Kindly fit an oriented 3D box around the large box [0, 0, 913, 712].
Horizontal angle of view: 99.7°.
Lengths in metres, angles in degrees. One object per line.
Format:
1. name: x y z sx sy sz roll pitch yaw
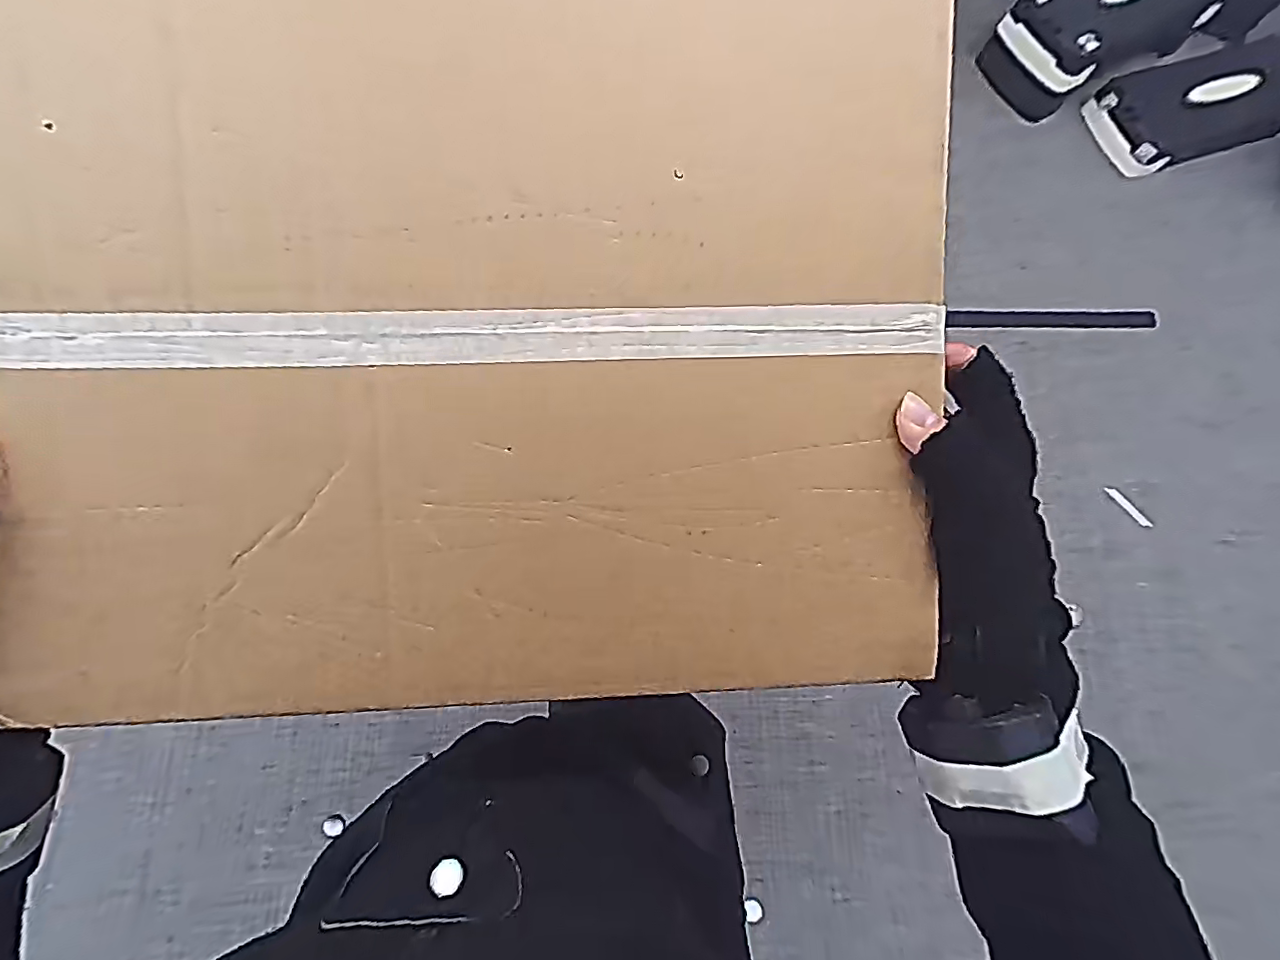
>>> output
1. large box: -0.085 -0.071 0.382 0.408 0.320 0.320 -1 94 -4
